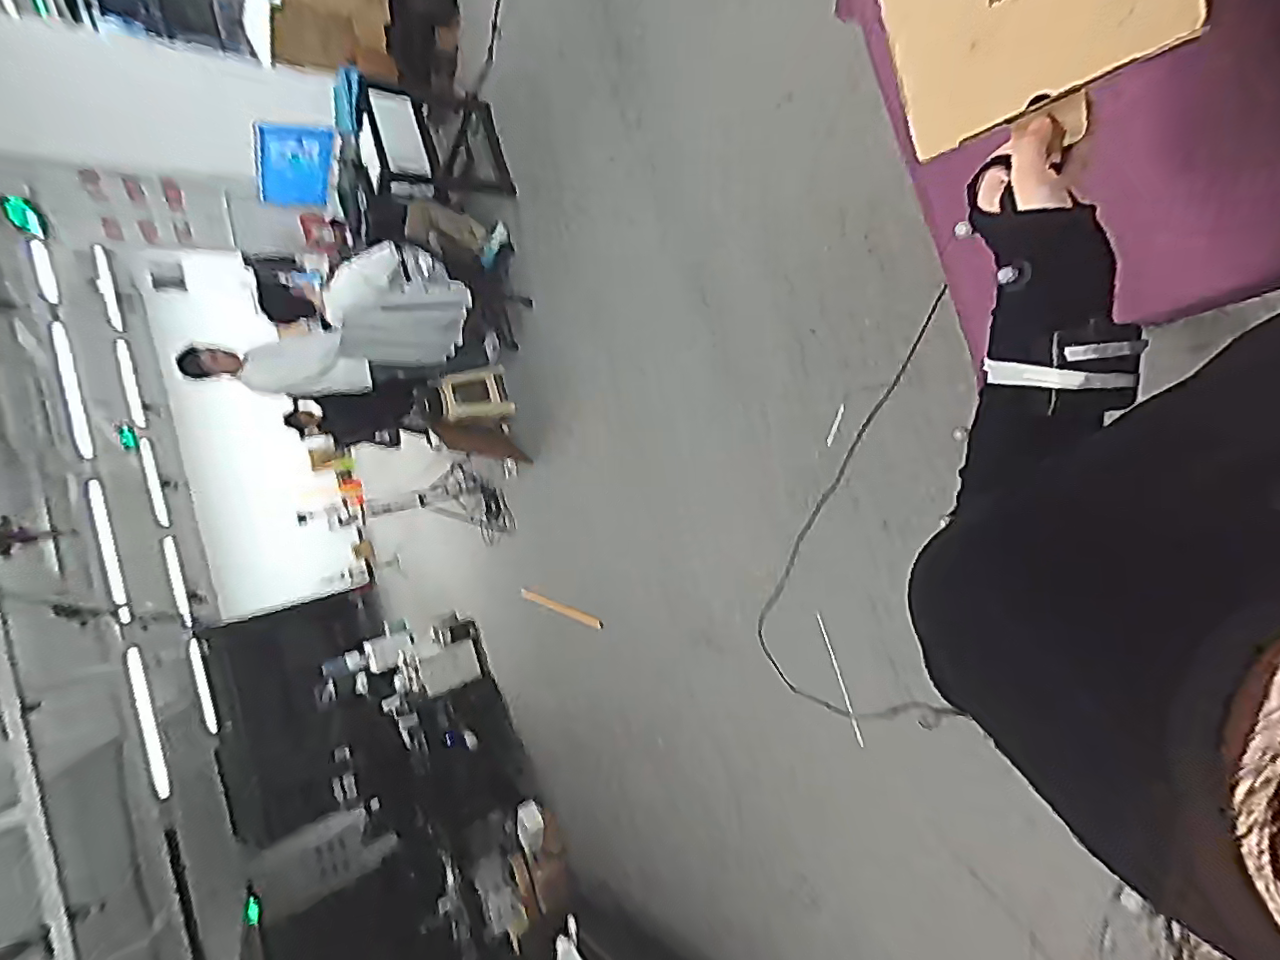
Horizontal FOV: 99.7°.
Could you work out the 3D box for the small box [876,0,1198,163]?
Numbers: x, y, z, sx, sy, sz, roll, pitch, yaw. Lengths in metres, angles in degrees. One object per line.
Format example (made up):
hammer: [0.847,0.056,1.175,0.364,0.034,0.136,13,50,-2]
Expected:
small box: [0.300,-0.380,0.410,0.168,0.176,0.179,-4,117,48]
